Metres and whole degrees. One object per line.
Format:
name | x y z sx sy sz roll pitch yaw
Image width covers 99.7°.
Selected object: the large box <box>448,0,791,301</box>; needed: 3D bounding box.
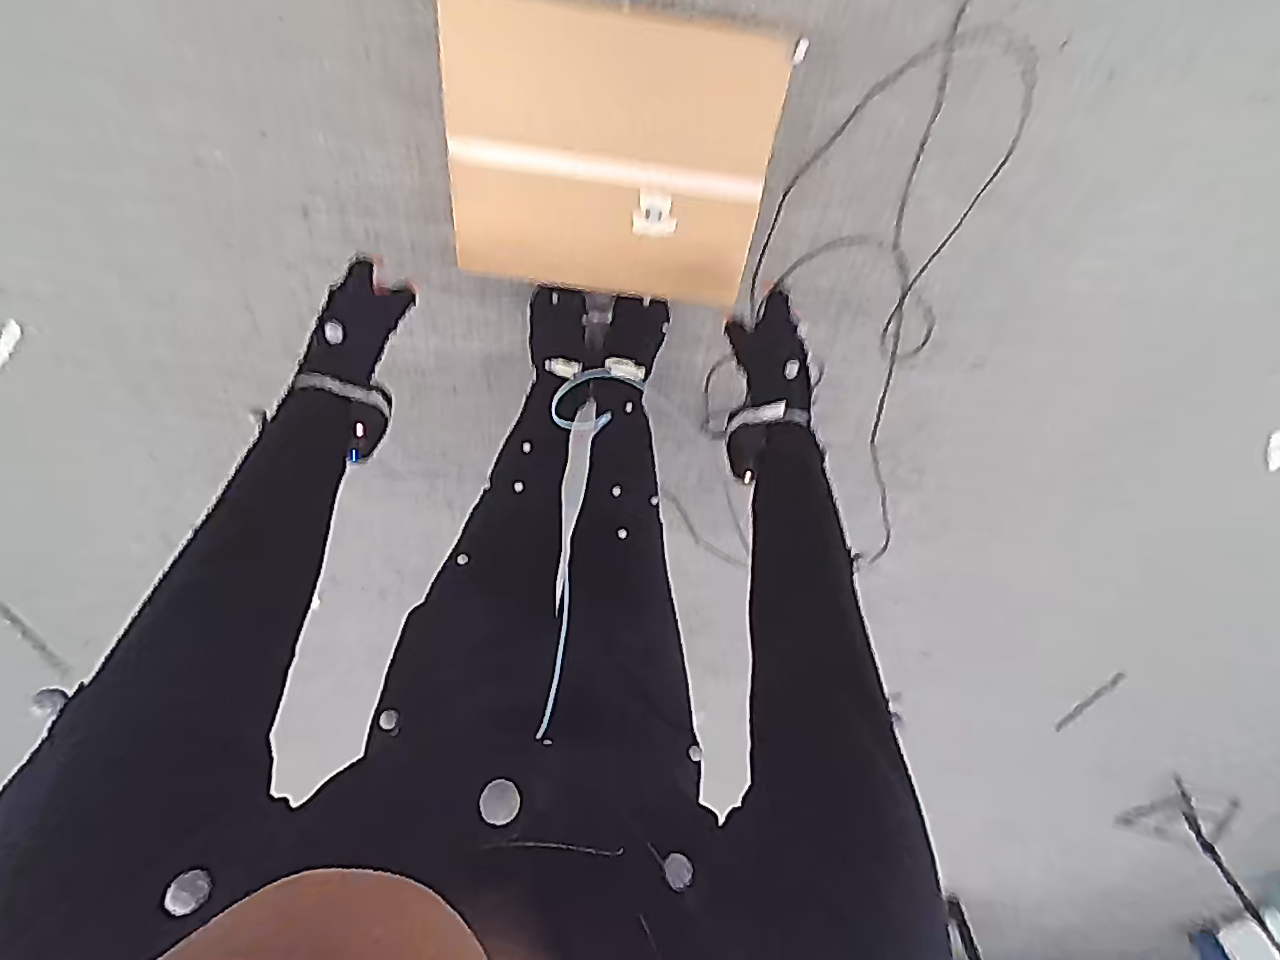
large box | -0.039 -0.495 0.824 0.408 0.320 0.320 6 128 -5
